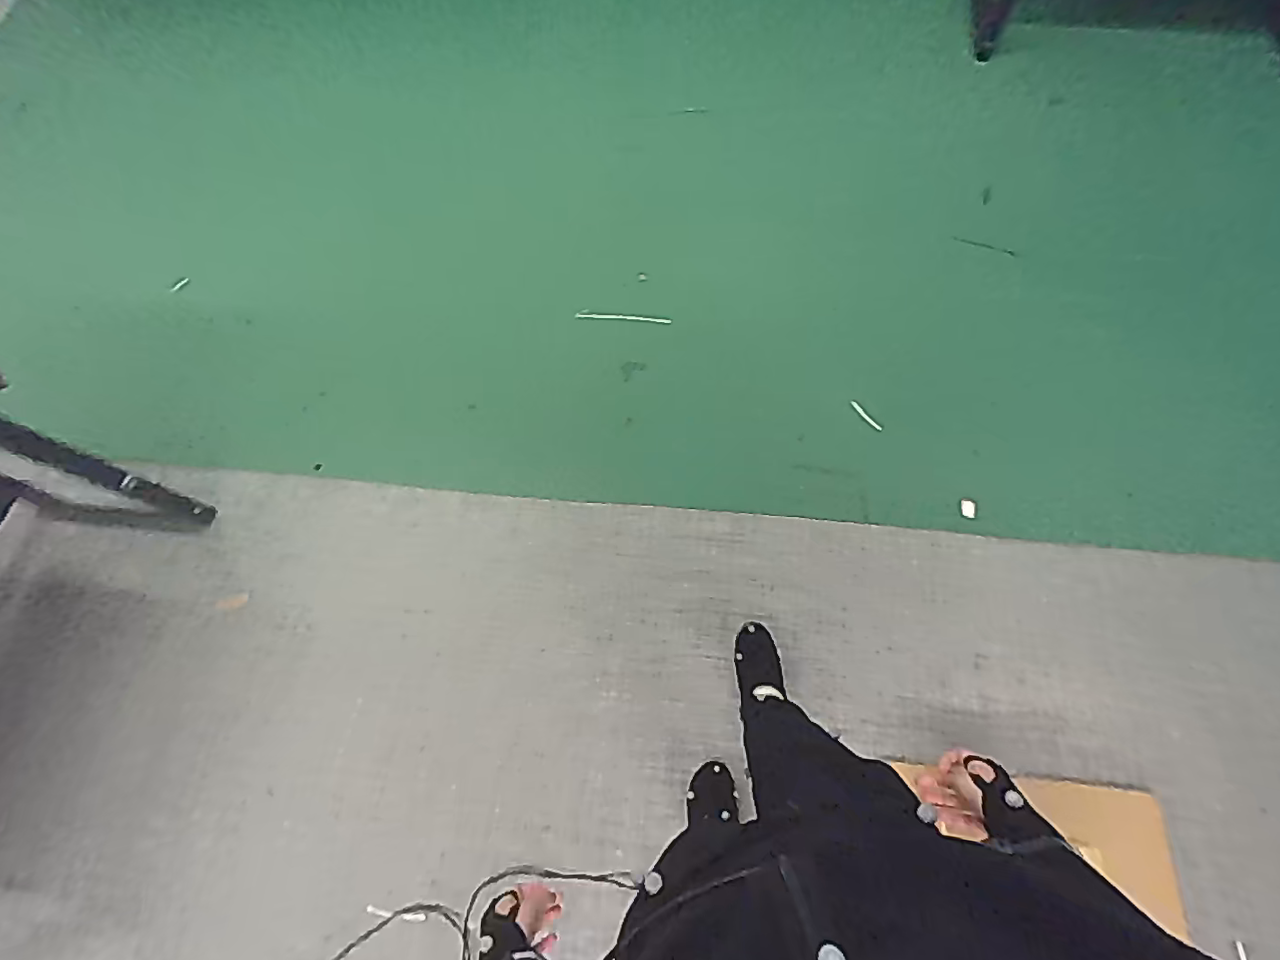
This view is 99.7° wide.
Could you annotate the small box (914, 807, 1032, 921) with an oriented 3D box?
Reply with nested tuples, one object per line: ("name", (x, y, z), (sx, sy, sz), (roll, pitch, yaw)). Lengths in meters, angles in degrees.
("small box", (0.673, 0.770, 1.088), (0.179, 0.176, 0.168), (3, 67, 4))

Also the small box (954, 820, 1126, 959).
("small box", (0.671, 0.704, 0.936), (0.179, 0.176, 0.168), (4, 68, 4))
